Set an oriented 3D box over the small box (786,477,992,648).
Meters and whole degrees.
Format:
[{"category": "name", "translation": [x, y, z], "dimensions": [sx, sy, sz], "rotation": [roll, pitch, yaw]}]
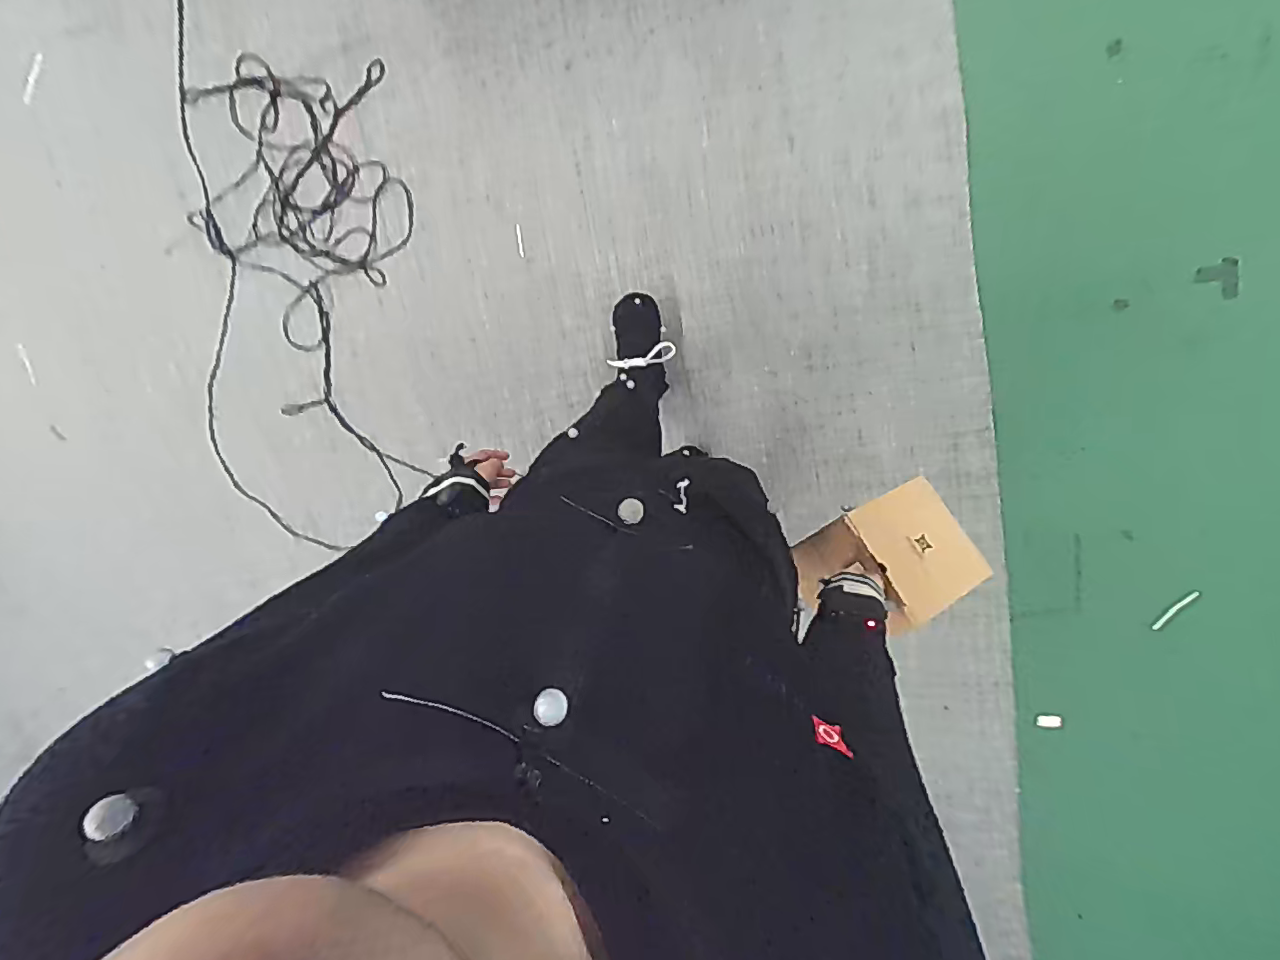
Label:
[{"category": "small box", "translation": [0.352, 0.124, 0.792], "dimensions": [0.179, 0.176, 0.168], "rotation": [-20, 71, -28]}]
